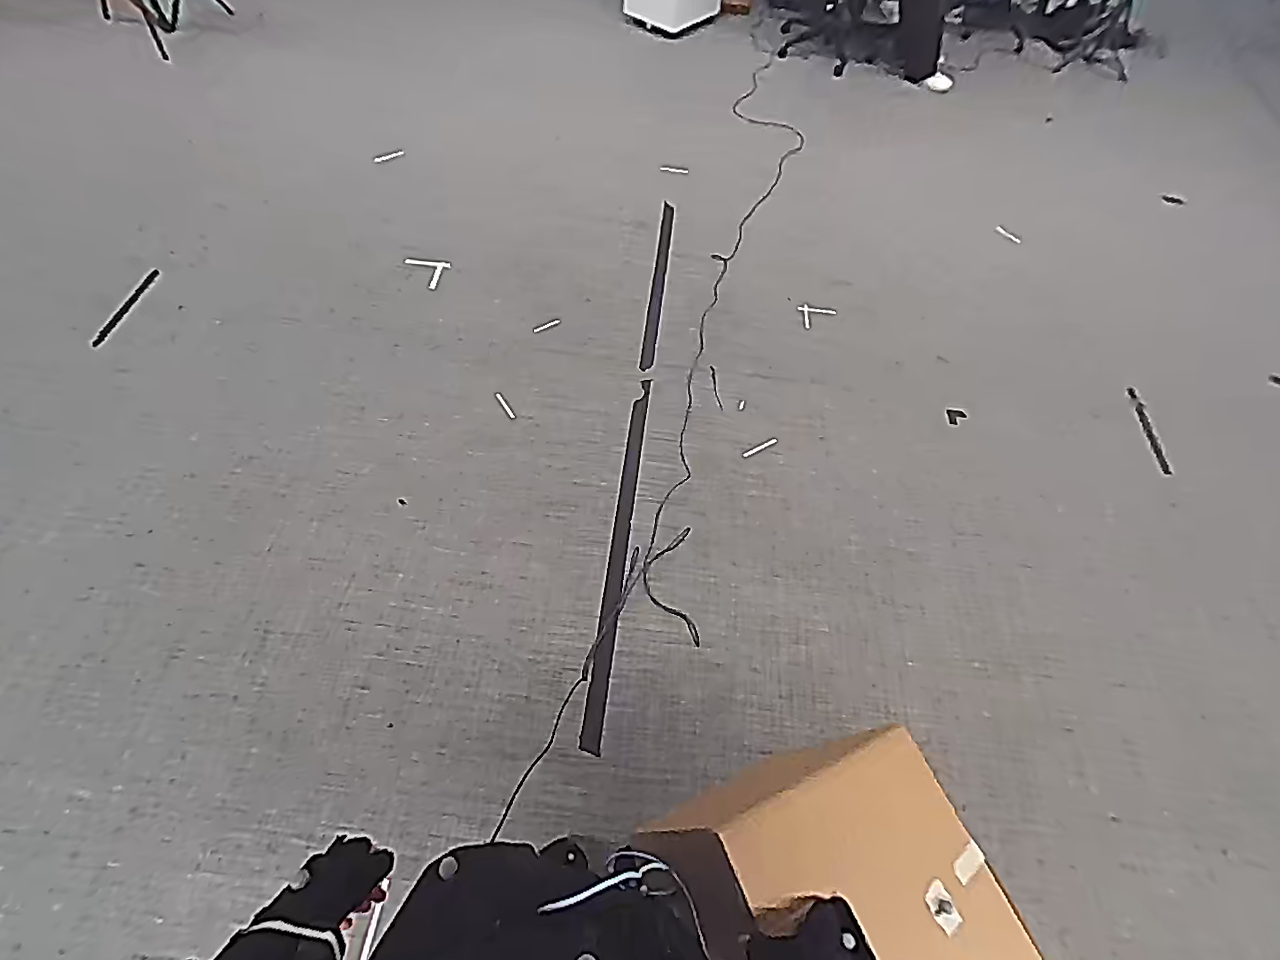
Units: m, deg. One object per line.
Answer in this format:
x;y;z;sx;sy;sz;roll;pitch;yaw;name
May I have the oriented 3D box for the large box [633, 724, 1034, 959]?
0.228;0.596;0.775;0.320;0.408;0.320;-14;62;-24;large box
